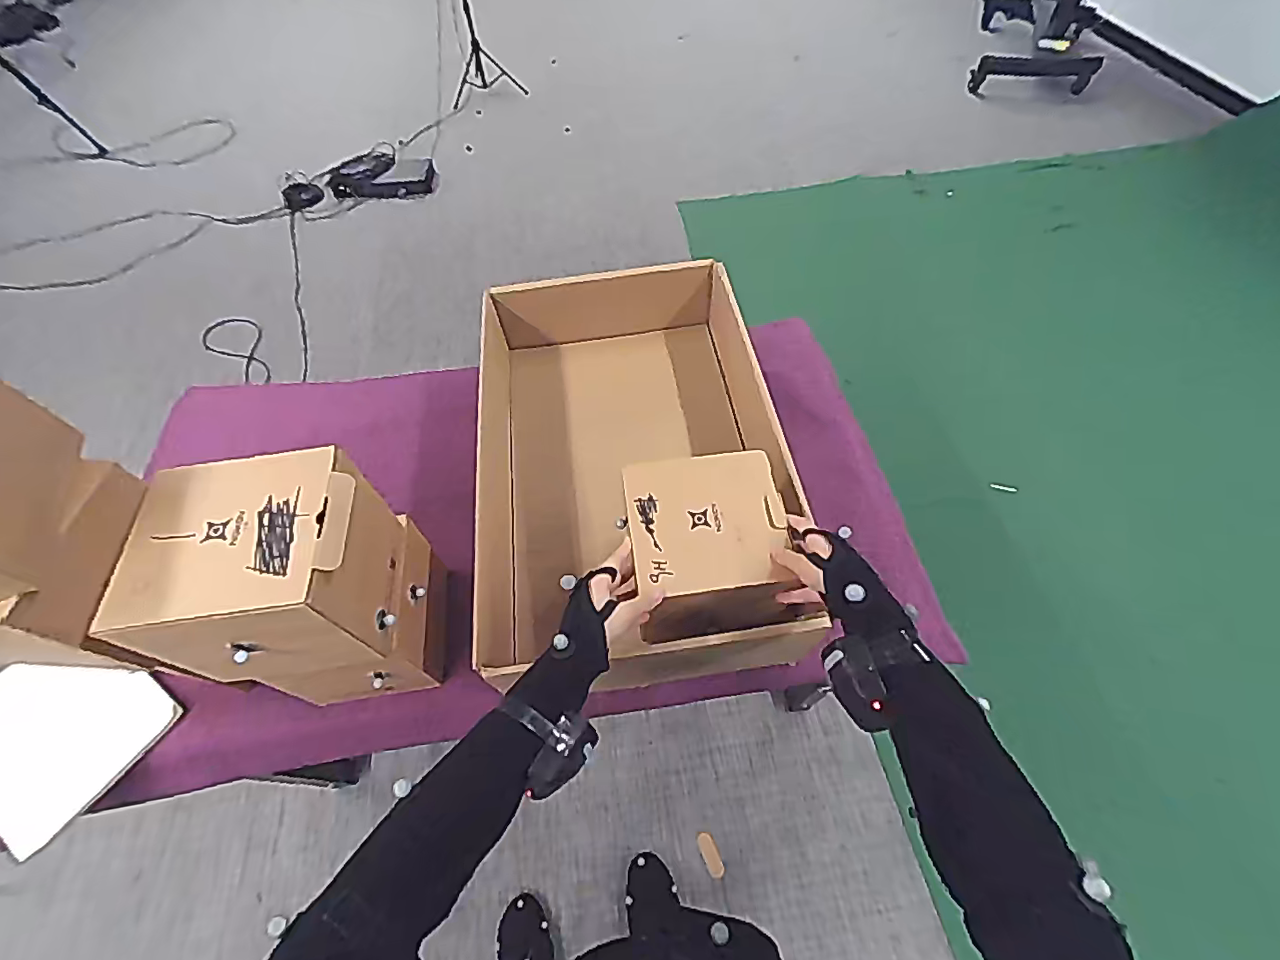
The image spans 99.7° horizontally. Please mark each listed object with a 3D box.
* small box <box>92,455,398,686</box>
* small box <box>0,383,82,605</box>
[{"bbox_3d":[-0.369,0.097,0.552,0.179,0.176,0.168,-8,55,-4],"label":"small box"},{"bbox_3d":[-0.612,0.005,0.426,0.168,0.176,0.179,-17,58,-7],"label":"small box"}]
